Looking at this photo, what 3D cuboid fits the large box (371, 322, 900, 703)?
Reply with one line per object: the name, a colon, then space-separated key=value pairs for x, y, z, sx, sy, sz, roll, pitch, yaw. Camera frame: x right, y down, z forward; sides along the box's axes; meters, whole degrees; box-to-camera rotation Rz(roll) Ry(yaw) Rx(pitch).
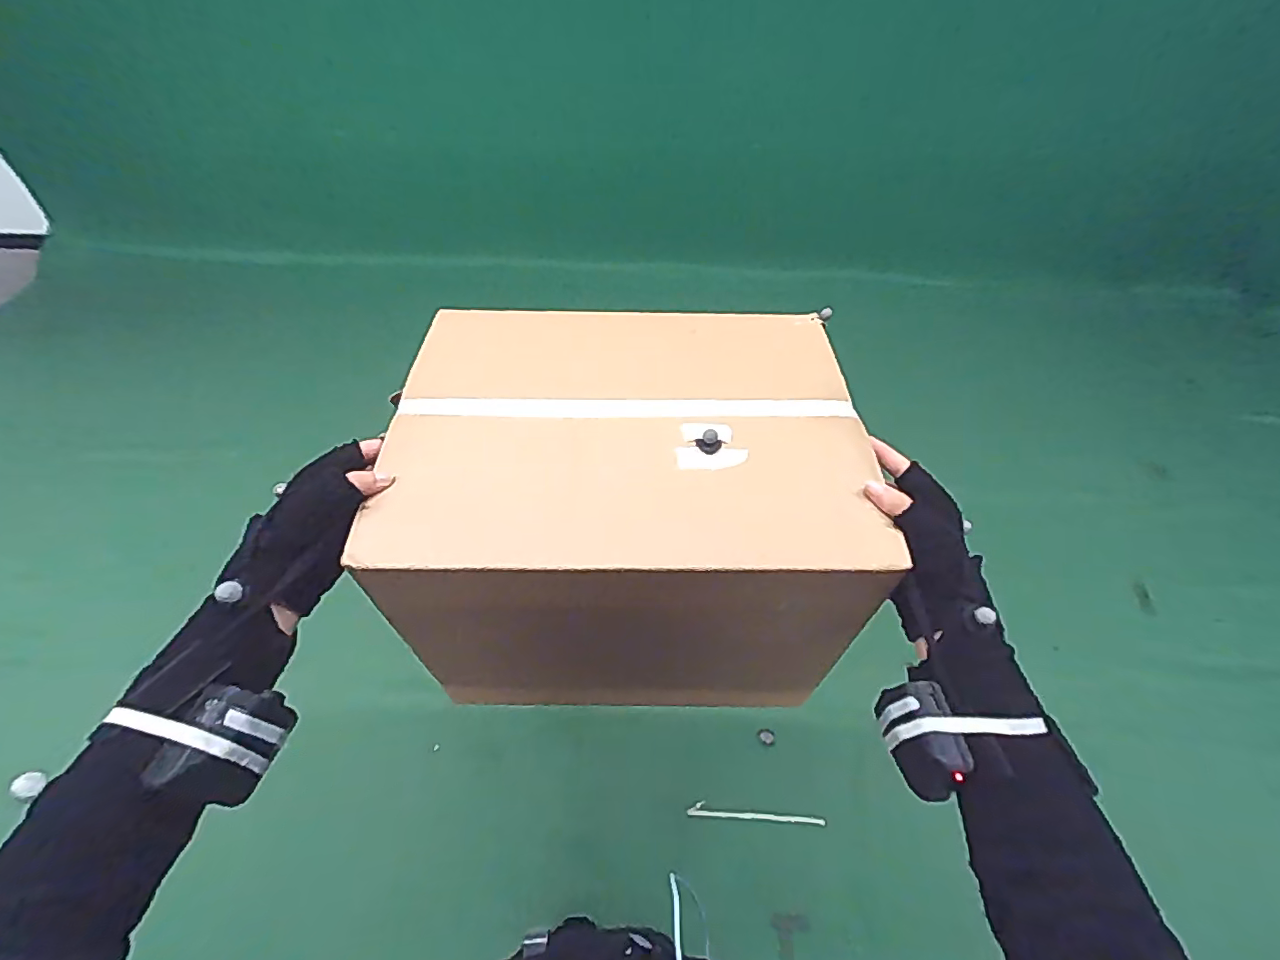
large box: x=-0.010 y=0.041 z=0.606 sx=0.408 sy=0.320 sz=0.320 roll=0 pitch=51 yaw=-2
